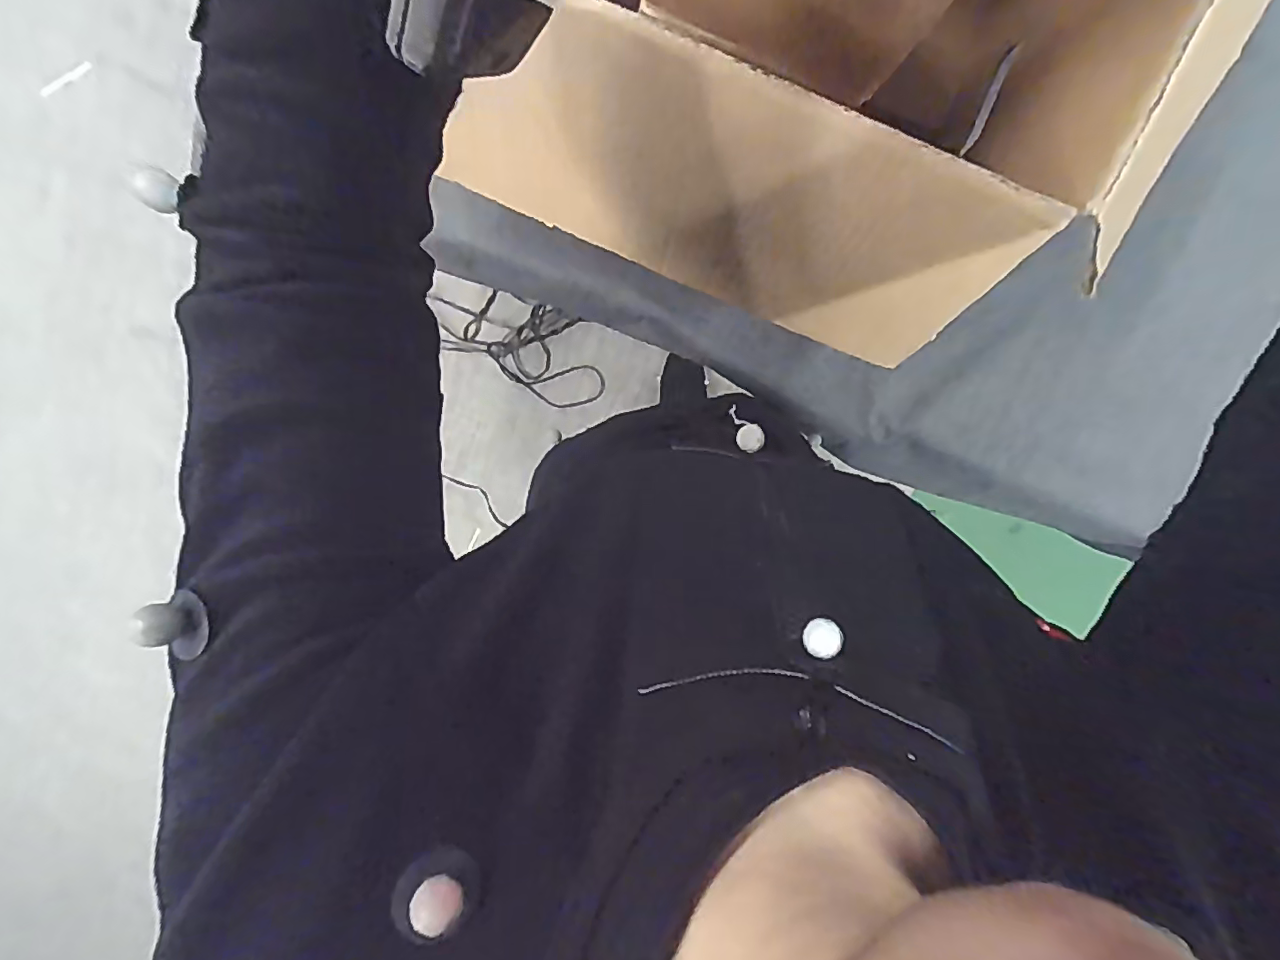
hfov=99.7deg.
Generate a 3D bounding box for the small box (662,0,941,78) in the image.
[{"bbox_3d":[0.110,-0.356,0.281,0.179,0.176,0.168,21,102,-3],"label":"small box"}]
